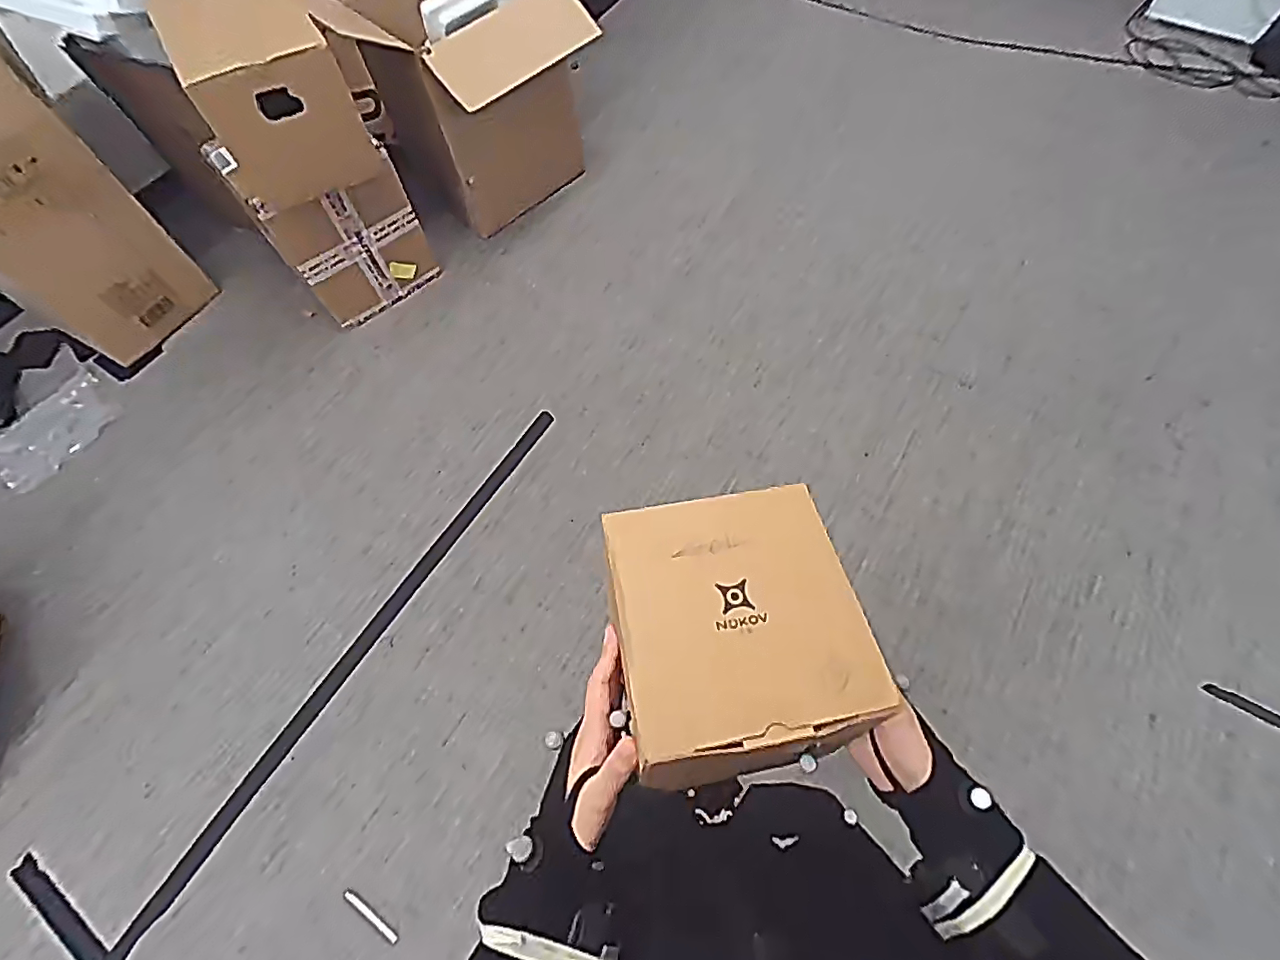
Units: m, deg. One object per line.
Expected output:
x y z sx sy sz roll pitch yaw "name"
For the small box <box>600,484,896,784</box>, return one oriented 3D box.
0.064 0.131 0.435 0.168 0.176 0.179 -8 54 -7 "small box"
